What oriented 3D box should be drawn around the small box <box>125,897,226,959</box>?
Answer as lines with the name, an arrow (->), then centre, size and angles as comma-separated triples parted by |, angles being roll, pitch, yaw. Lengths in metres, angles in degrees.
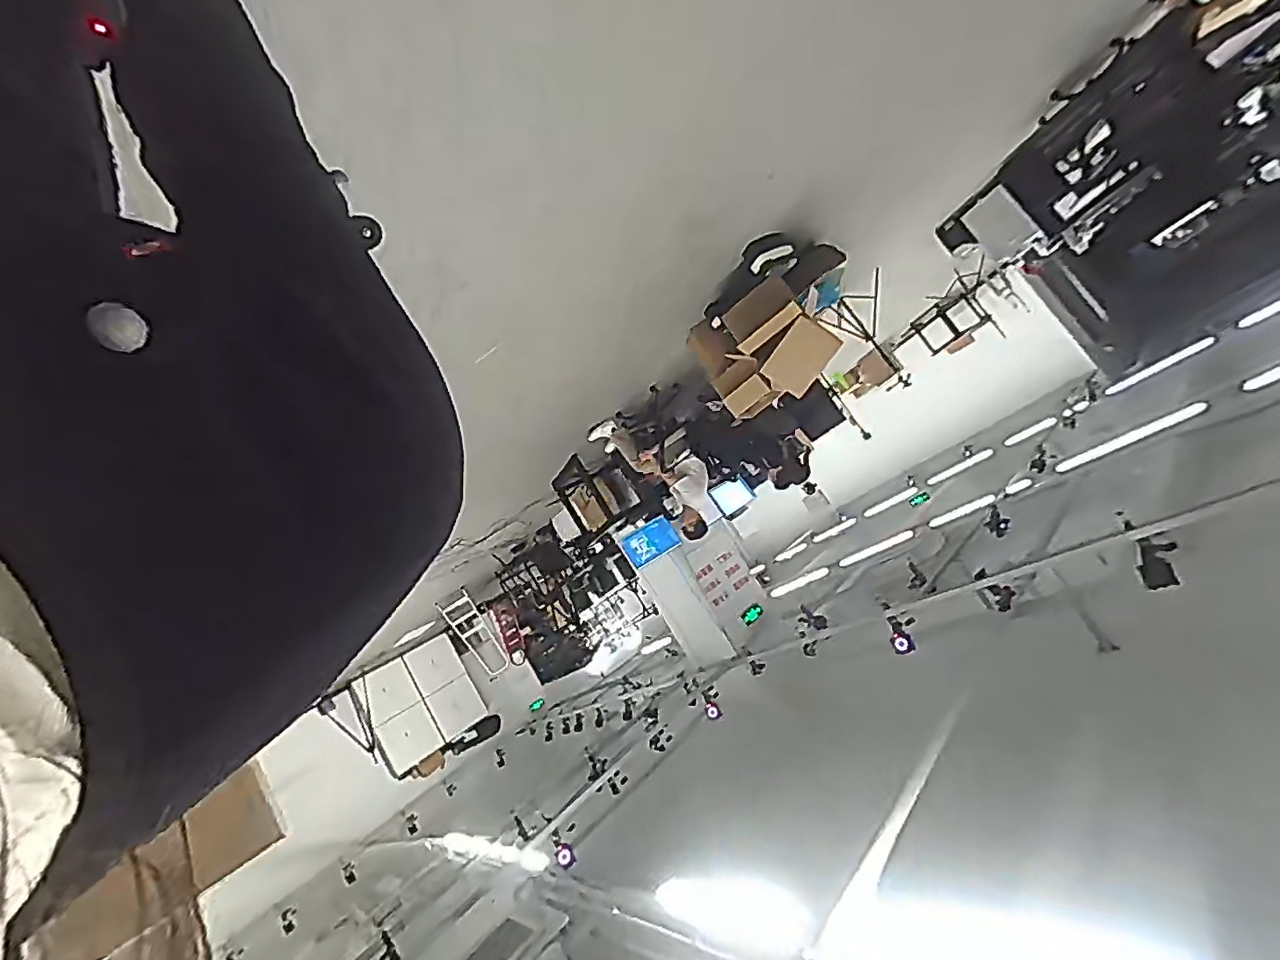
small box -> -1.379, 1.395, 1.610 | 0.168, 0.176, 0.179 | -26, 166, -34
